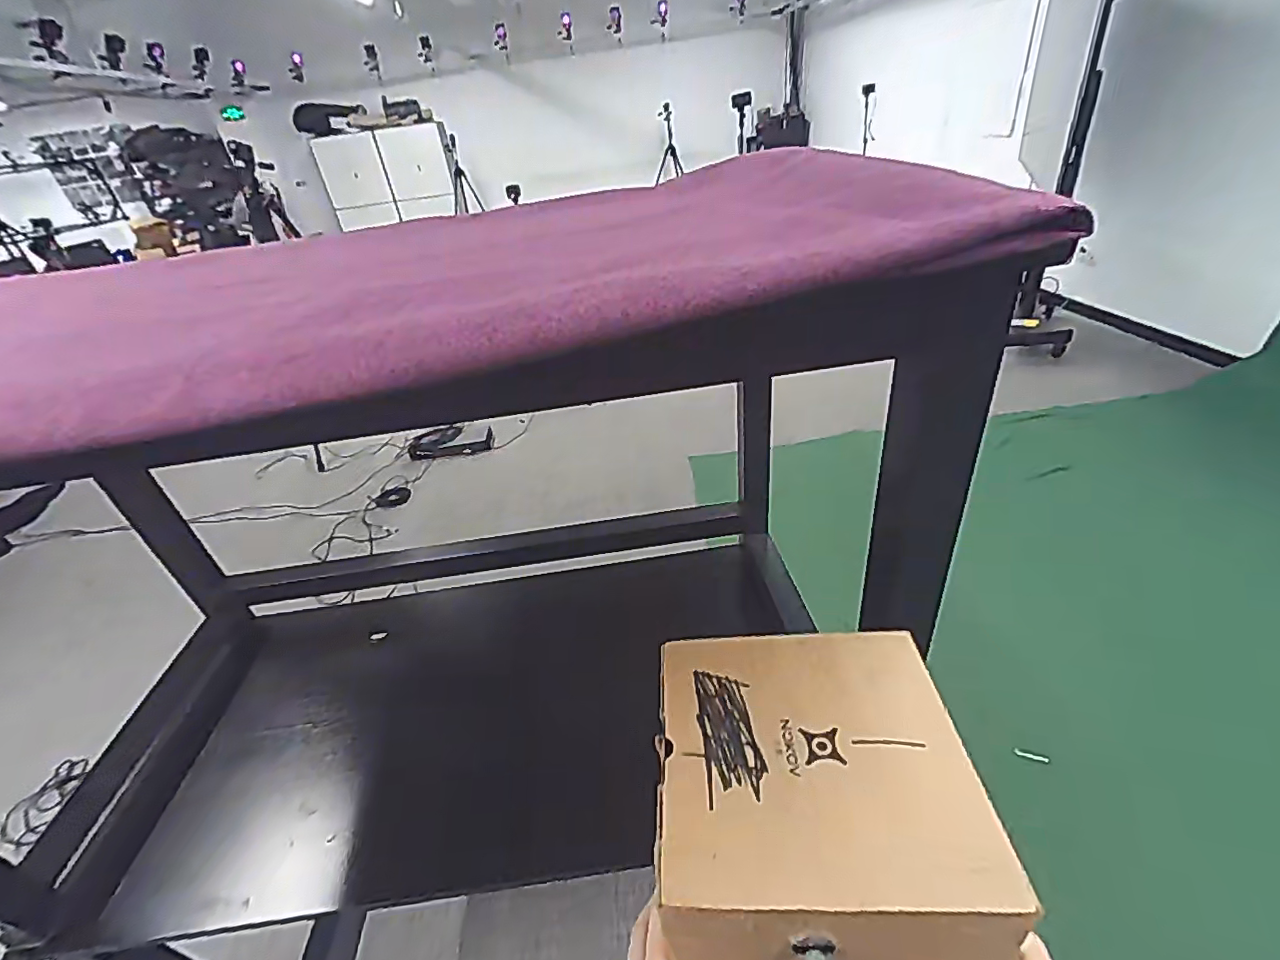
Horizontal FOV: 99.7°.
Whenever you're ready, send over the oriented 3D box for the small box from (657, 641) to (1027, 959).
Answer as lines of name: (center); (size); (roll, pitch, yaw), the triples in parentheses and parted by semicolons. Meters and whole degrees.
small box: (0.107, 0.231, 0.364); (0.179, 0.176, 0.168); (-4, 32, 5)
